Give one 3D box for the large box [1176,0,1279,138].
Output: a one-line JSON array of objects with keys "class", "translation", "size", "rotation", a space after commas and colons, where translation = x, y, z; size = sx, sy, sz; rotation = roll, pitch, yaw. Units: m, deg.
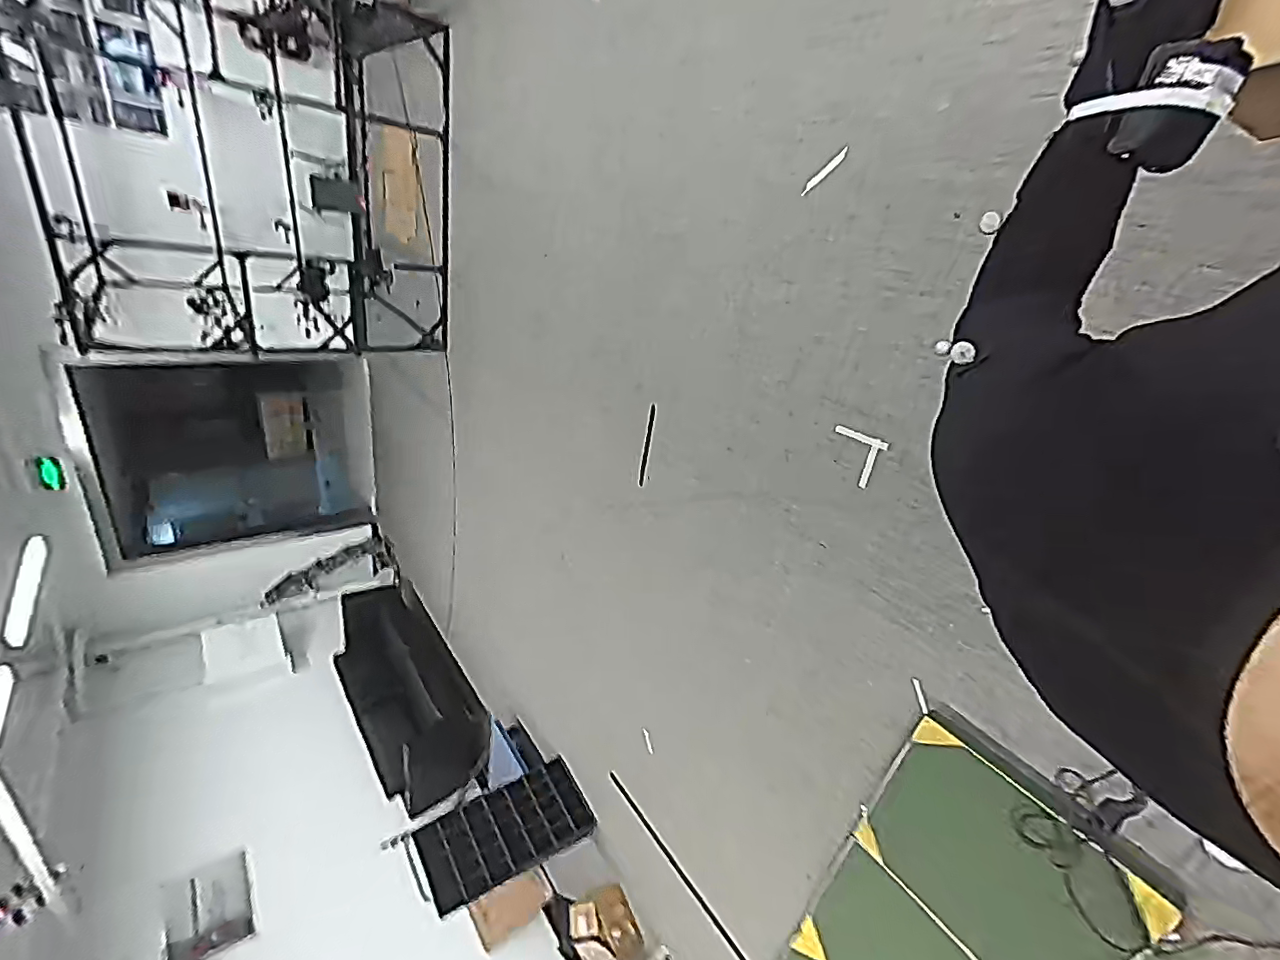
[{"class": "large box", "translation": [0.605, -0.421, 0.271], "size": [0.408, 0.320, 0.320], "rotation": [19, 118, 51]}]
